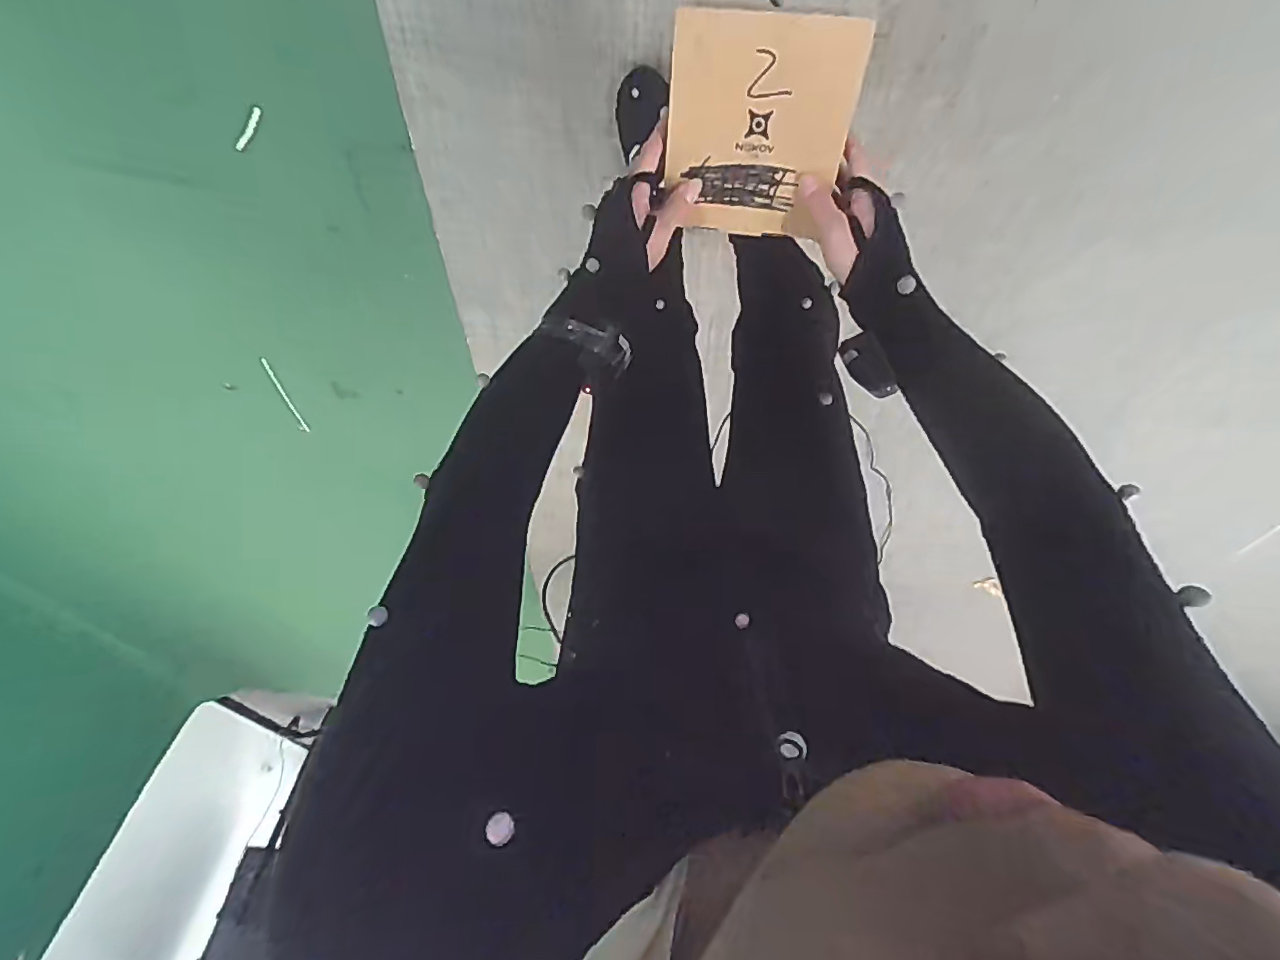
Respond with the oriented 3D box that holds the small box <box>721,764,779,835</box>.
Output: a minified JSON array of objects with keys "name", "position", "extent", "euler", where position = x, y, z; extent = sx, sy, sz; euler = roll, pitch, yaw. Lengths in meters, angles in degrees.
[{"name":"small box","position":[0.365,1.071,1.810],"extent":[0.168,0.176,0.179],"euler":[4,140,5]}]
